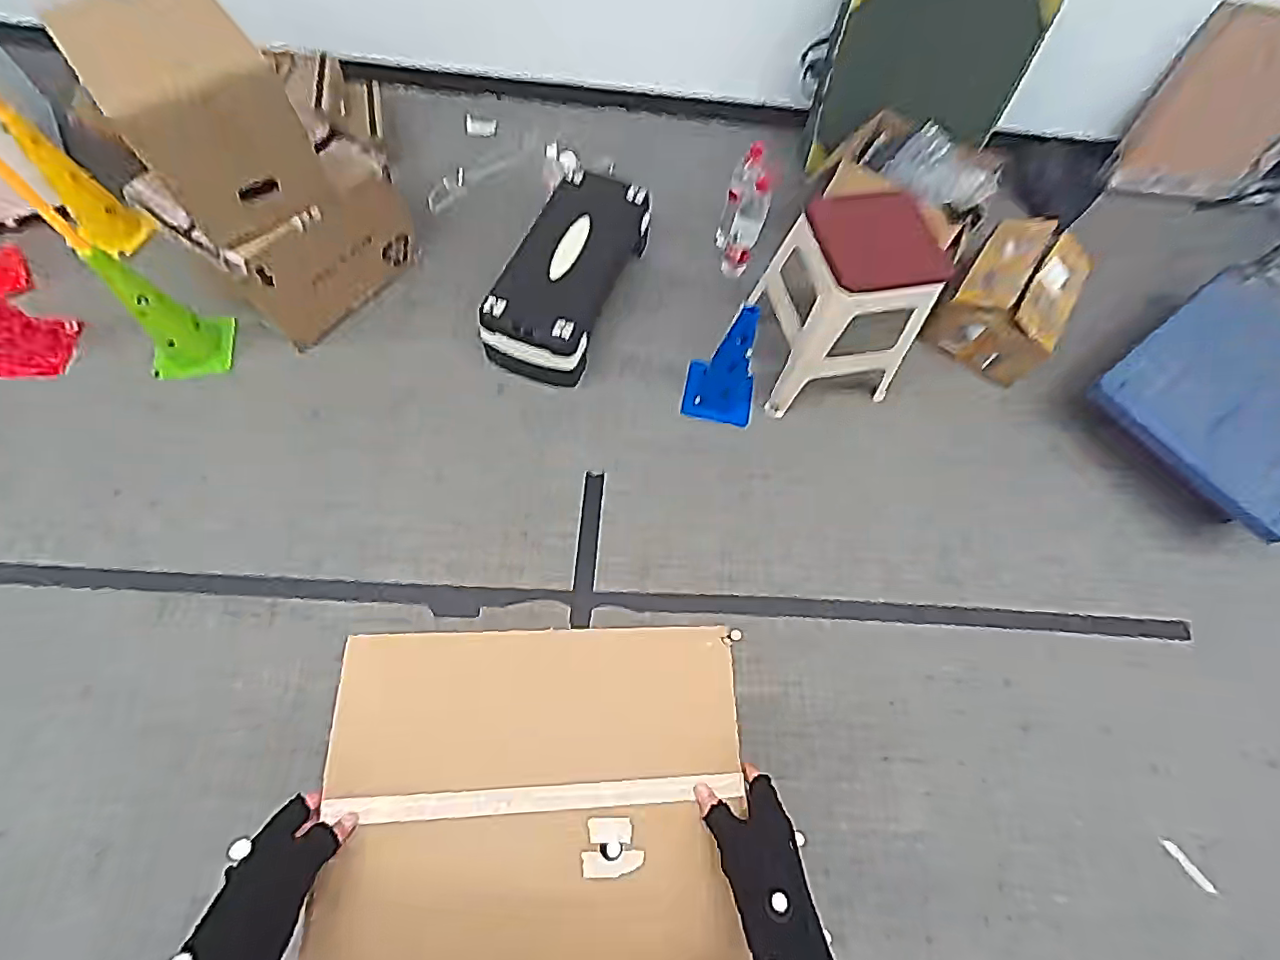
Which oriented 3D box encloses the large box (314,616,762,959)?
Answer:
[{"bbox_3d":[-0.108,0.350,0.666,0.408,0.320,0.320,1,70,-8],"label":"large box"}]
